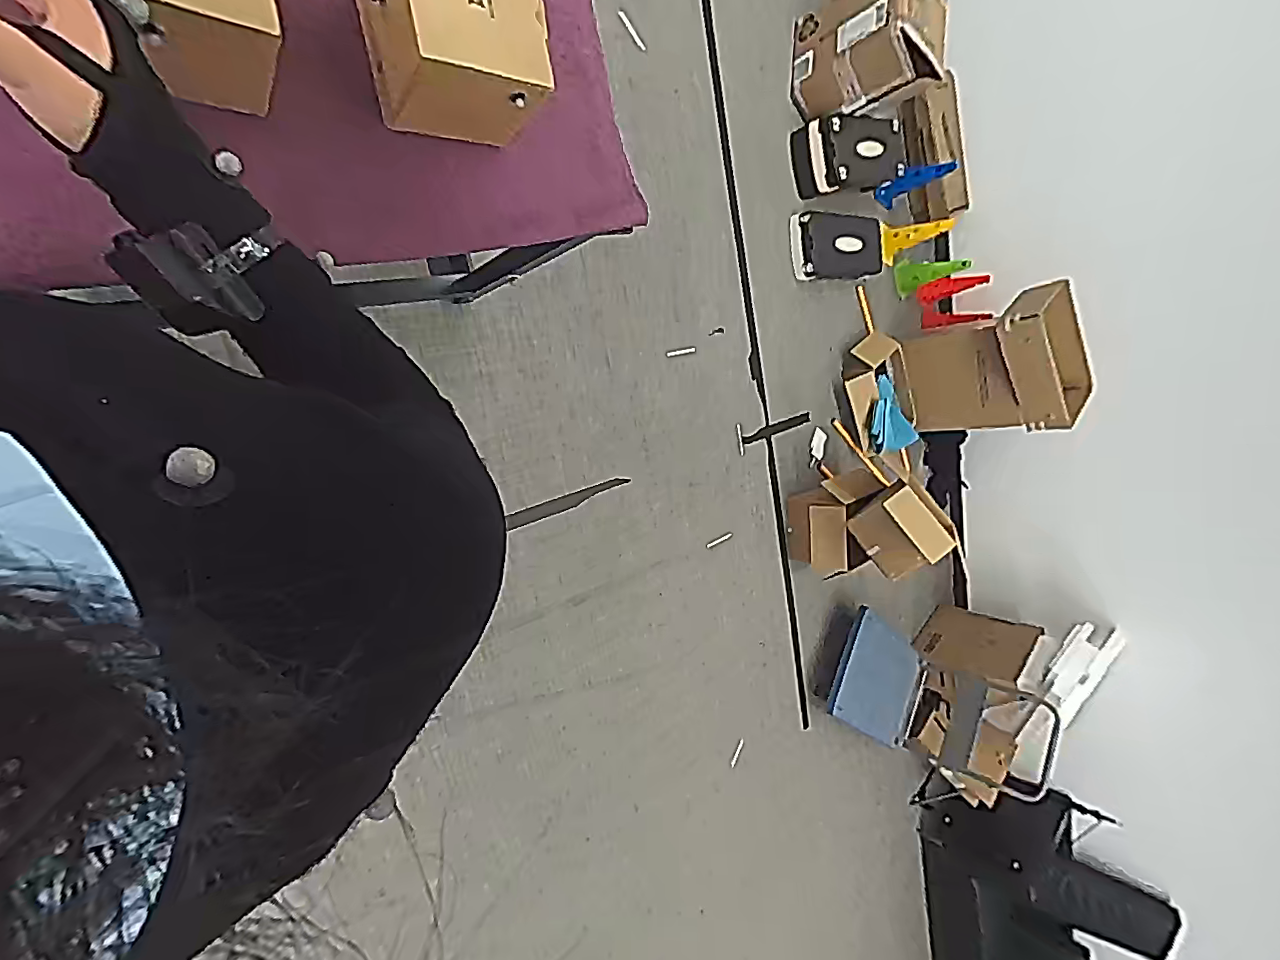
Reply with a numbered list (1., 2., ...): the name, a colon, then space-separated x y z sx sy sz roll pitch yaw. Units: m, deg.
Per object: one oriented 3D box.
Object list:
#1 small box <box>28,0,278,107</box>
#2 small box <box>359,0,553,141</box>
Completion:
1. small box: -0.465 -0.491 0.508 0.179 0.176 0.168 -12 102 -39
2. small box: -0.241 -0.565 0.692 0.179 0.176 0.168 -17 103 -38
